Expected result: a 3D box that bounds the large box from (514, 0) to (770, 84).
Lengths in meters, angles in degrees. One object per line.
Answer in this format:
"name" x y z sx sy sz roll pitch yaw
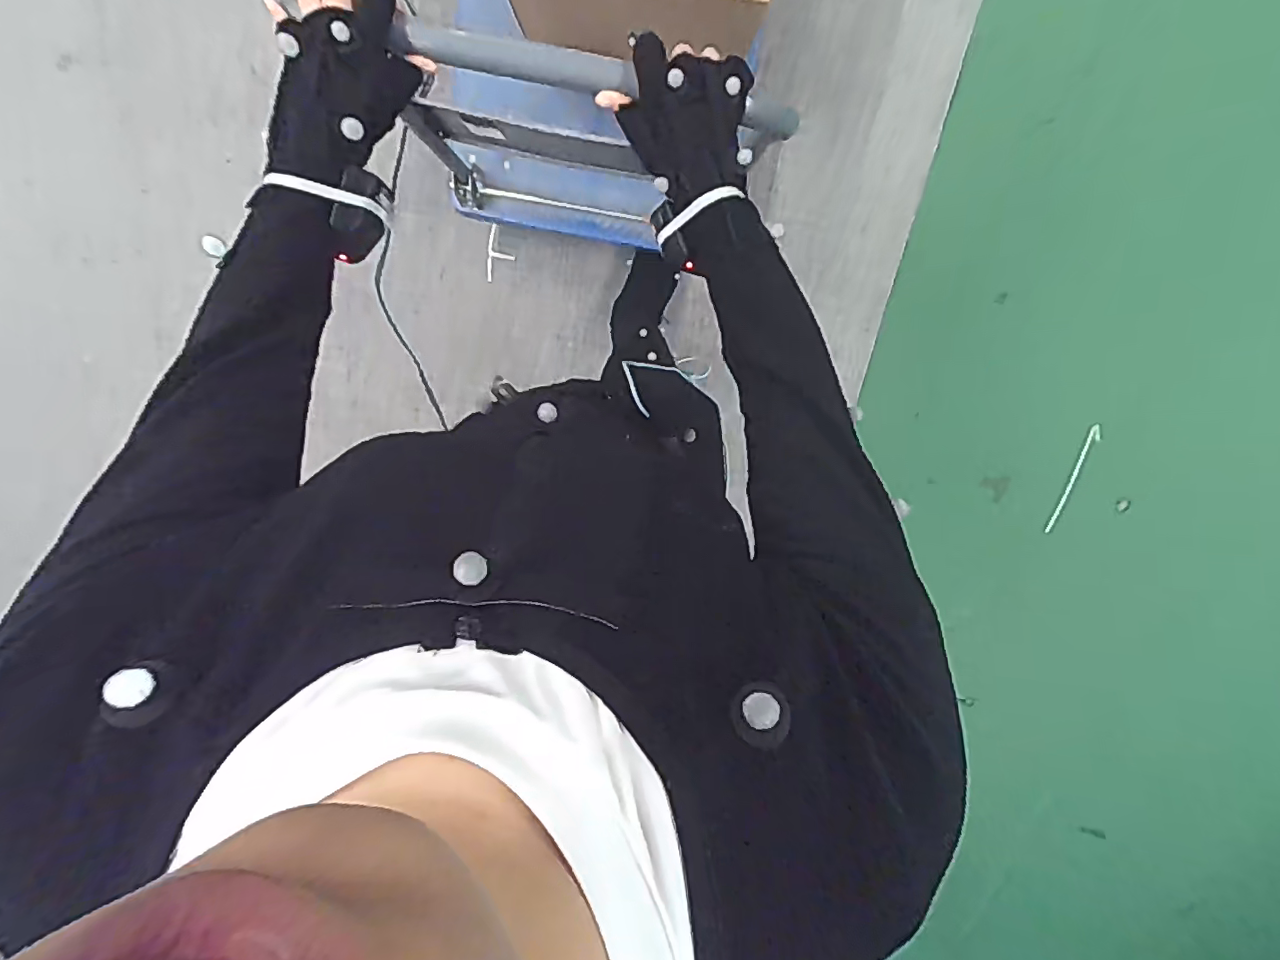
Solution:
"large box" 0.015 -0.901 0.877 0.408 0.320 0.320 8 107 -1
